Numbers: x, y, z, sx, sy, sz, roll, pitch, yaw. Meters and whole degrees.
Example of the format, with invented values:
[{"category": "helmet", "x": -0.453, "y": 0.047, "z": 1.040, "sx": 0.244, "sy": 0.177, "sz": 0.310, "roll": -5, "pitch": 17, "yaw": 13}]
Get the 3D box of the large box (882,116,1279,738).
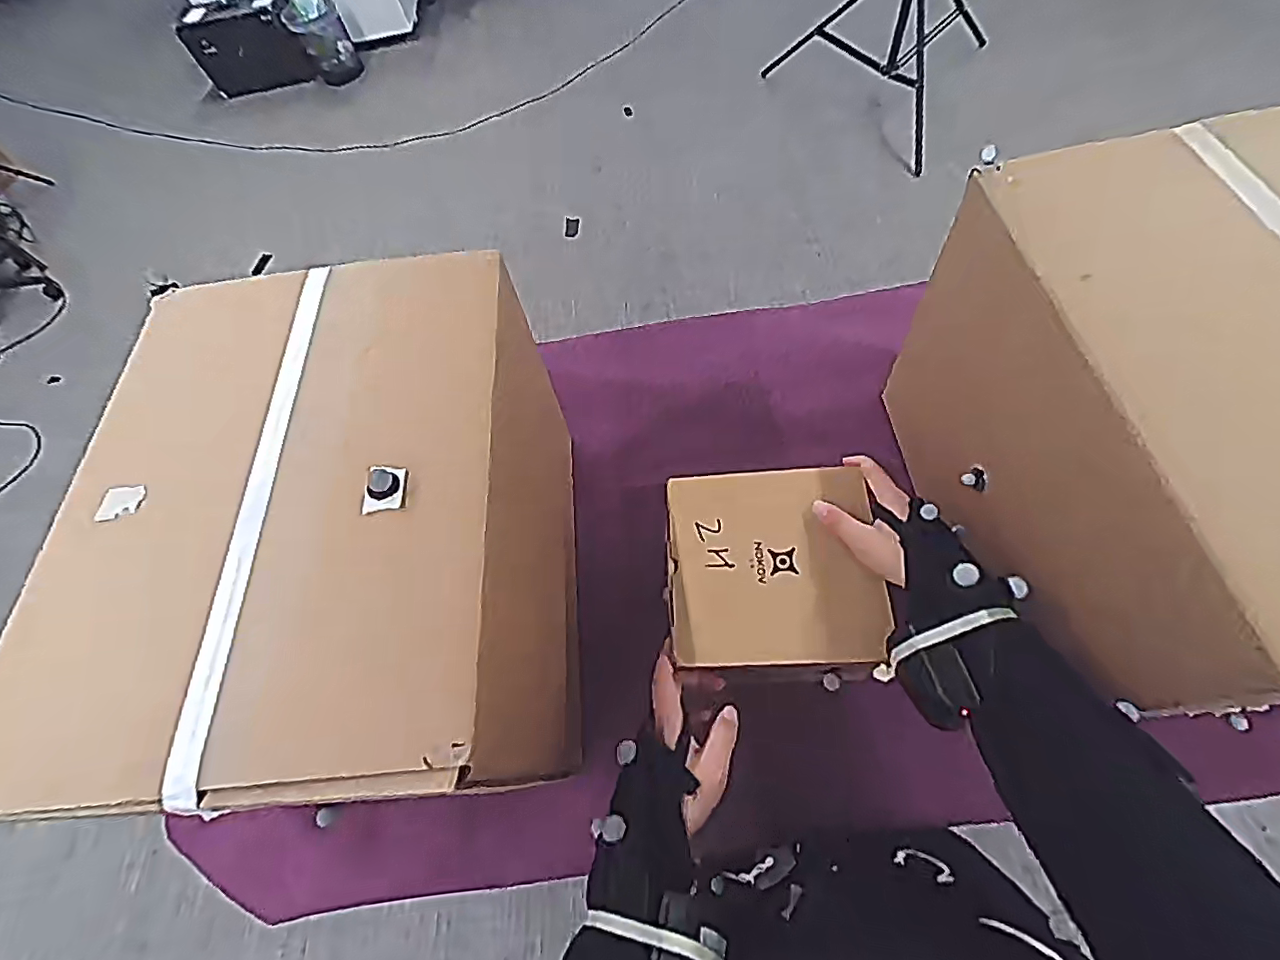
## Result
[{"category": "large box", "x": 0.453, "y": -0.025, "z": 0.460, "sx": 0.320, "sy": 0.320, "sz": 0.408, "roll": -8, "pitch": 60, "yaw": 4}]
